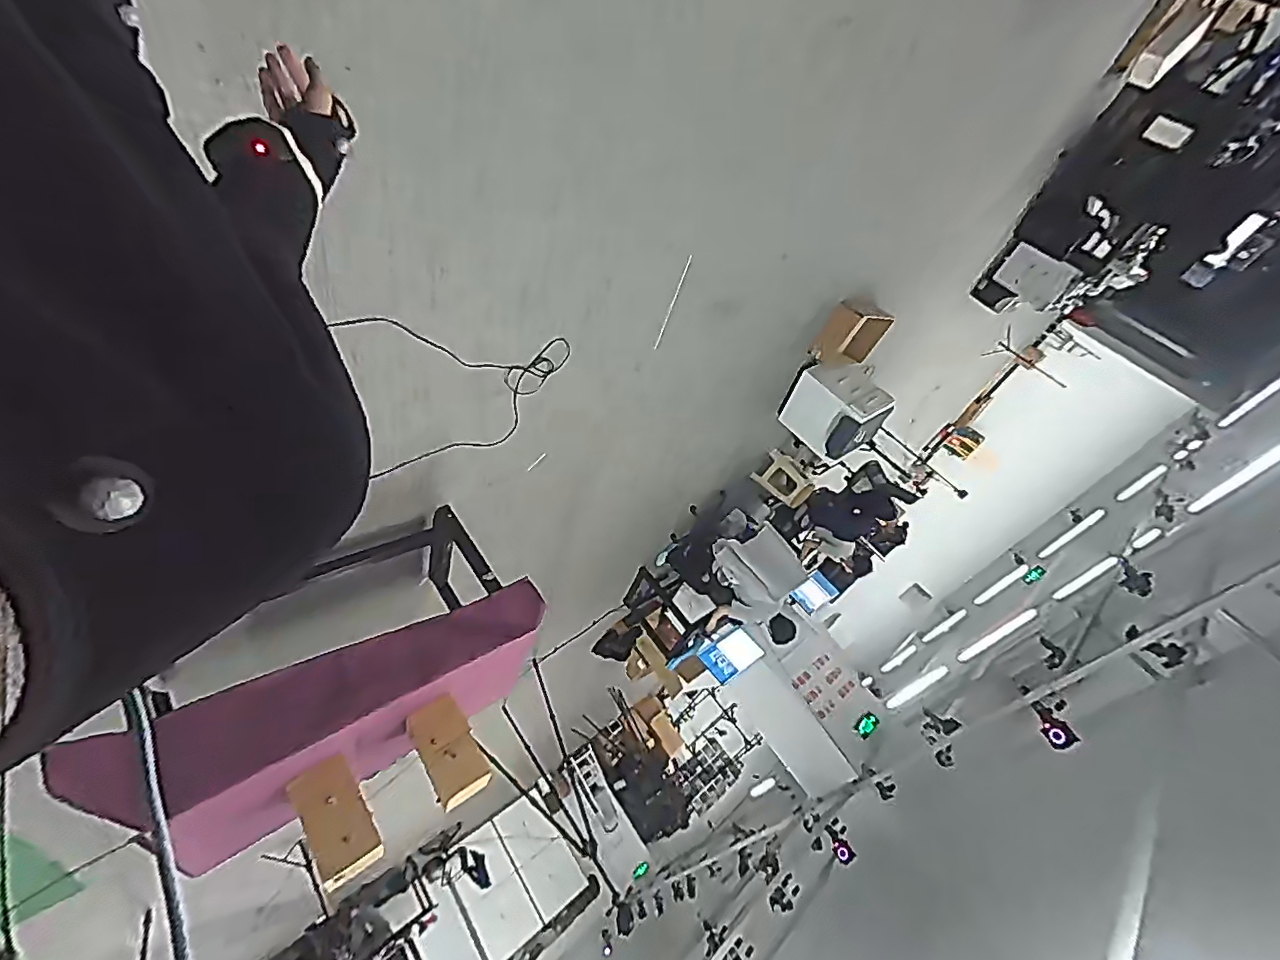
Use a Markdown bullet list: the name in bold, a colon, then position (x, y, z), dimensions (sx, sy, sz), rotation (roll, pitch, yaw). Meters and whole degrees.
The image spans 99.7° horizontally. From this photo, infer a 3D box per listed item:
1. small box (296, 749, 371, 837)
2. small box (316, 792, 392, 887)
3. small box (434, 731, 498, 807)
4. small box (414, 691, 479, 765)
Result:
- **small box**: position (-1.023, 1.043, 1.811), dimensions (0.179, 0.176, 0.168), rotation (-19, 147, -38)
- **small box**: position (-0.924, 1.156, 1.744), dimensions (0.179, 0.176, 0.168), rotation (-21, 148, -38)
- **small box**: position (-0.645, 1.057, 1.987), dimensions (0.168, 0.176, 0.179), rotation (-21, 149, -37)
- **small box**: position (-0.737, 0.938, 2.057), dimensions (0.179, 0.176, 0.168), rotation (-21, 149, -36)
